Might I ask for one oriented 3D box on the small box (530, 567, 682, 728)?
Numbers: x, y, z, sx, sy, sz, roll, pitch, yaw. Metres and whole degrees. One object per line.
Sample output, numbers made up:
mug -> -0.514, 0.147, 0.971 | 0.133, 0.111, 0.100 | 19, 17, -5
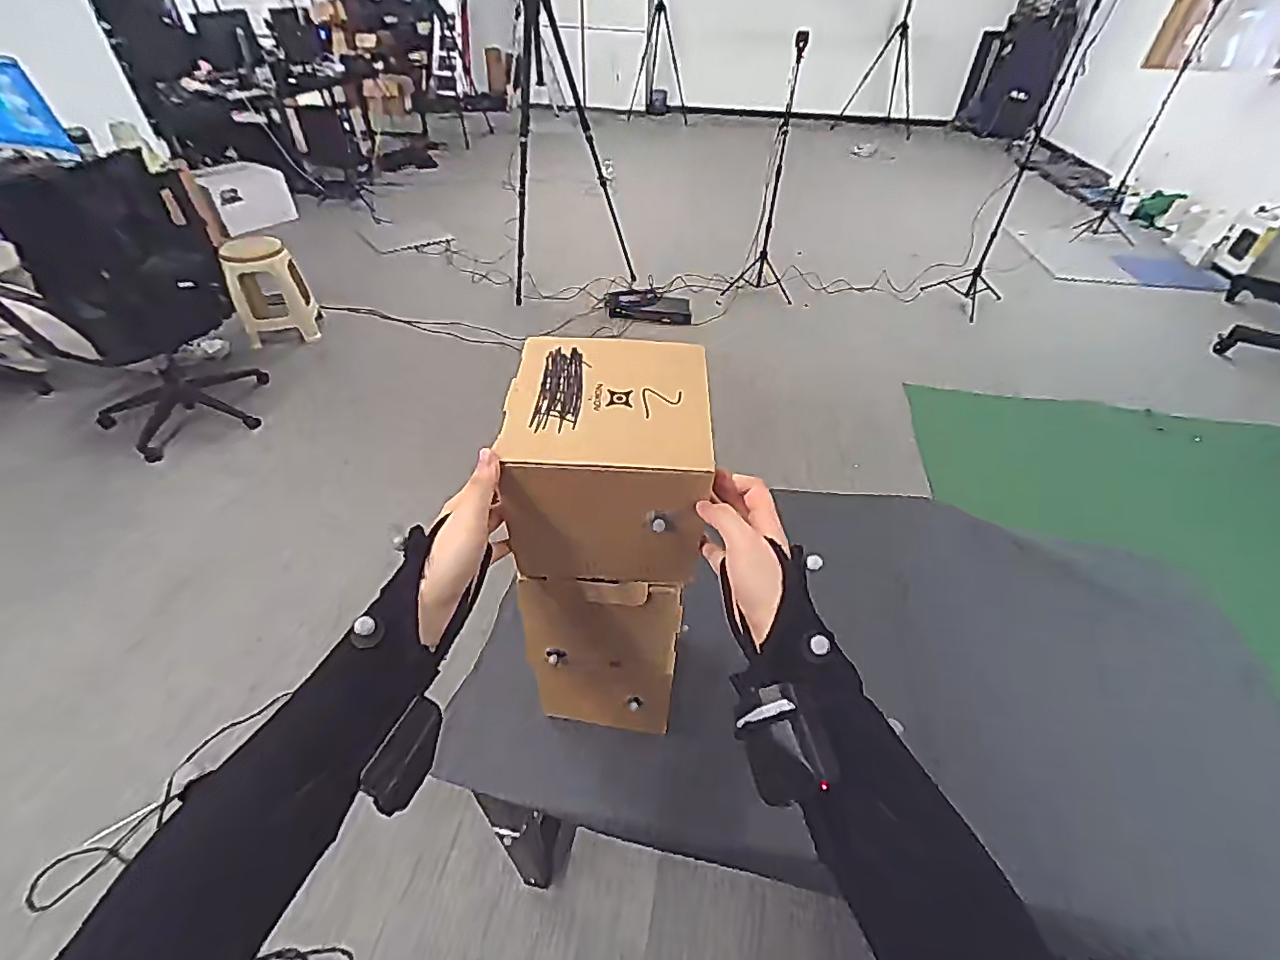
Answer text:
small box -> -0.040, 0.229, 0.766 | 0.179, 0.176, 0.168 | 6, 41, 6

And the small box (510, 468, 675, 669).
small box -> -0.046, 0.107, 0.656 | 0.168, 0.176, 0.179 | 4, 40, 2
